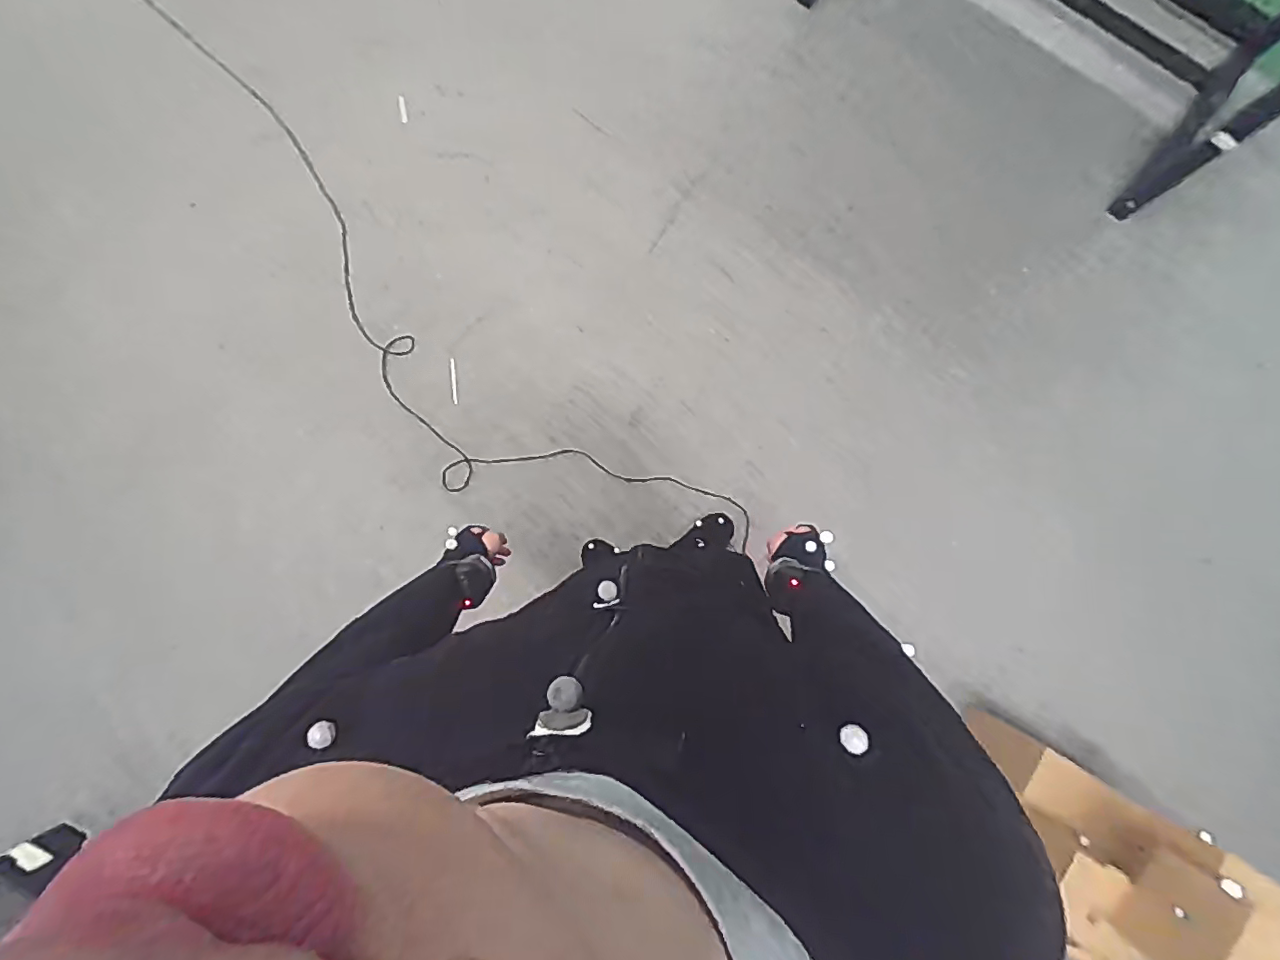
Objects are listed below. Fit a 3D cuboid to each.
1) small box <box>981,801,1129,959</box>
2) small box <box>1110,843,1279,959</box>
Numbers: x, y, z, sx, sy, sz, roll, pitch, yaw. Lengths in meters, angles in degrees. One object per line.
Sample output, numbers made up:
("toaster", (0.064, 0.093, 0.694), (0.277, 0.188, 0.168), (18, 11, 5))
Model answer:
("small box", (0.841, 0.802, 1.095), (0.168, 0.176, 0.179), (31, 89, 4))
("small box", (0.971, 0.784, 0.926), (0.168, 0.176, 0.179), (37, 86, 3))
